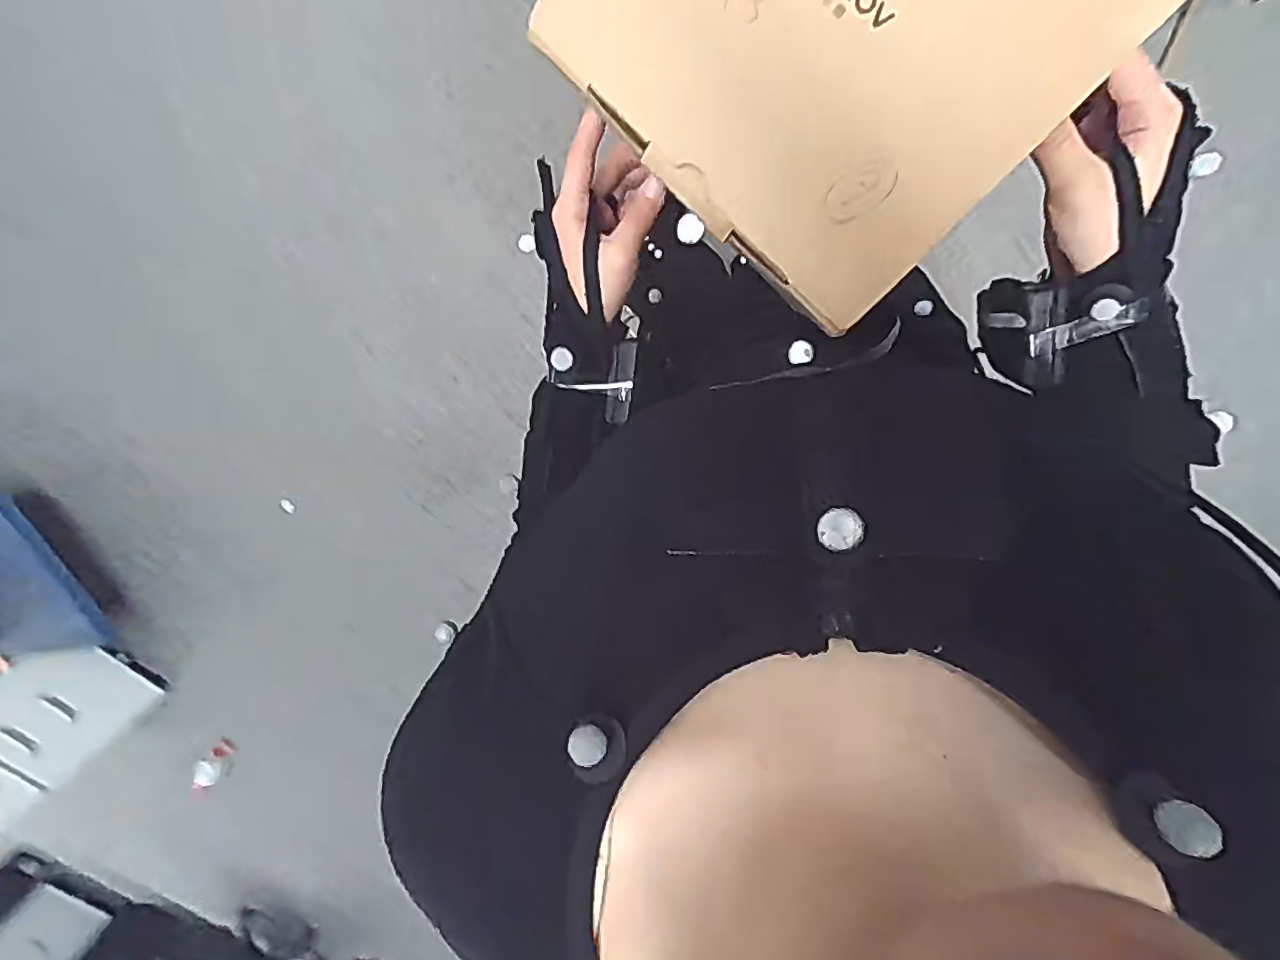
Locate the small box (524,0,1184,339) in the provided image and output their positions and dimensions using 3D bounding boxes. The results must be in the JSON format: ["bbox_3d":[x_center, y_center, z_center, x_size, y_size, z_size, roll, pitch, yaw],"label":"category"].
[{"bbox_3d":[0.085,-0.192,0.250,0.168,0.176,0.179,43,113,-6],"label":"small box"}]
